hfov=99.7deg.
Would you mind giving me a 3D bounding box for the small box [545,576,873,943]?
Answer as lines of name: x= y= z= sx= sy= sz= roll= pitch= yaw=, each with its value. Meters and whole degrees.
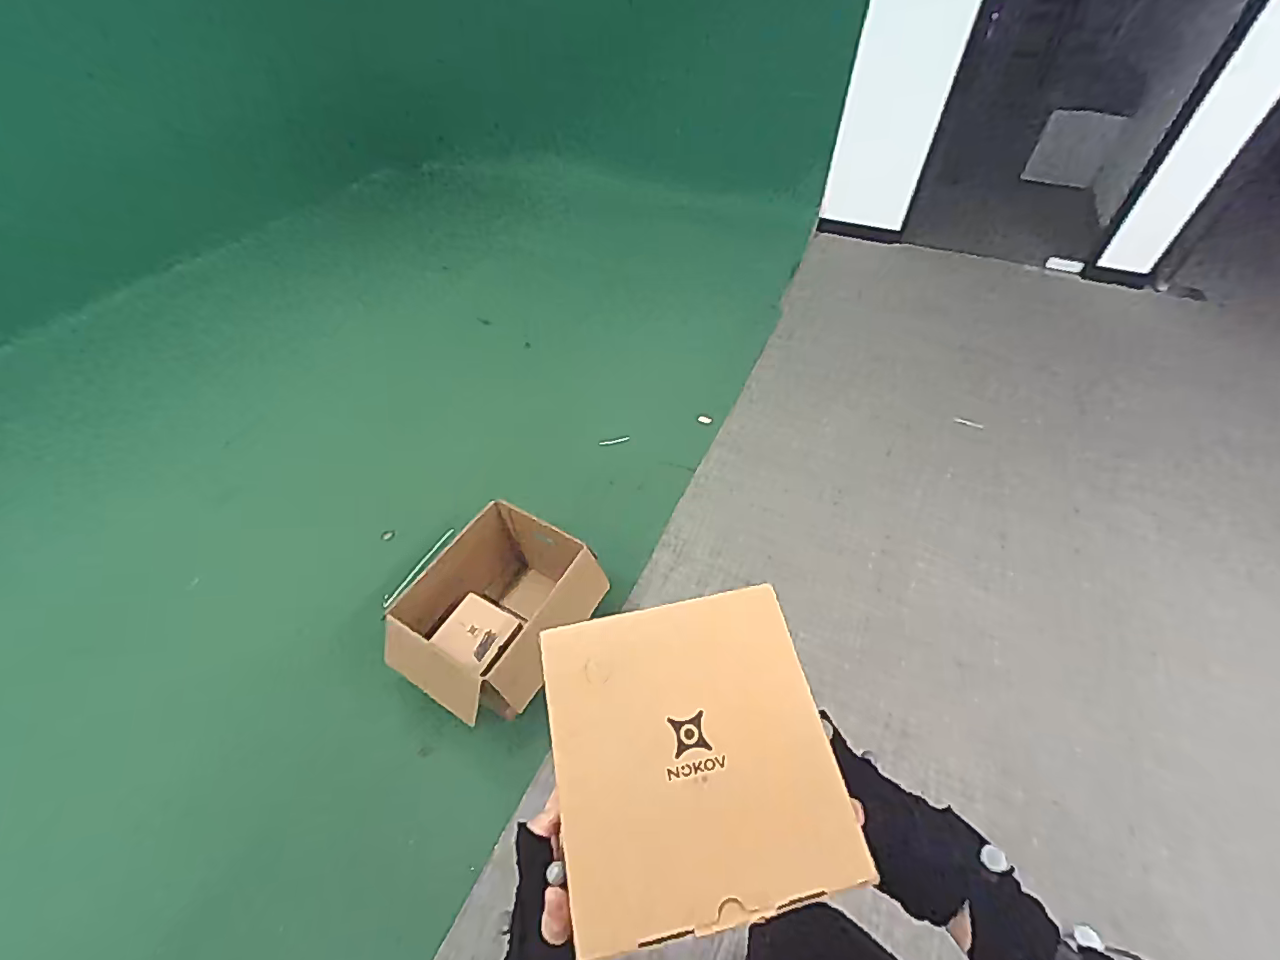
small box: x=0.029 y=0.194 z=0.395 sx=0.168 sy=0.176 sz=0.179 roll=-10 pitch=59 yaw=-8
